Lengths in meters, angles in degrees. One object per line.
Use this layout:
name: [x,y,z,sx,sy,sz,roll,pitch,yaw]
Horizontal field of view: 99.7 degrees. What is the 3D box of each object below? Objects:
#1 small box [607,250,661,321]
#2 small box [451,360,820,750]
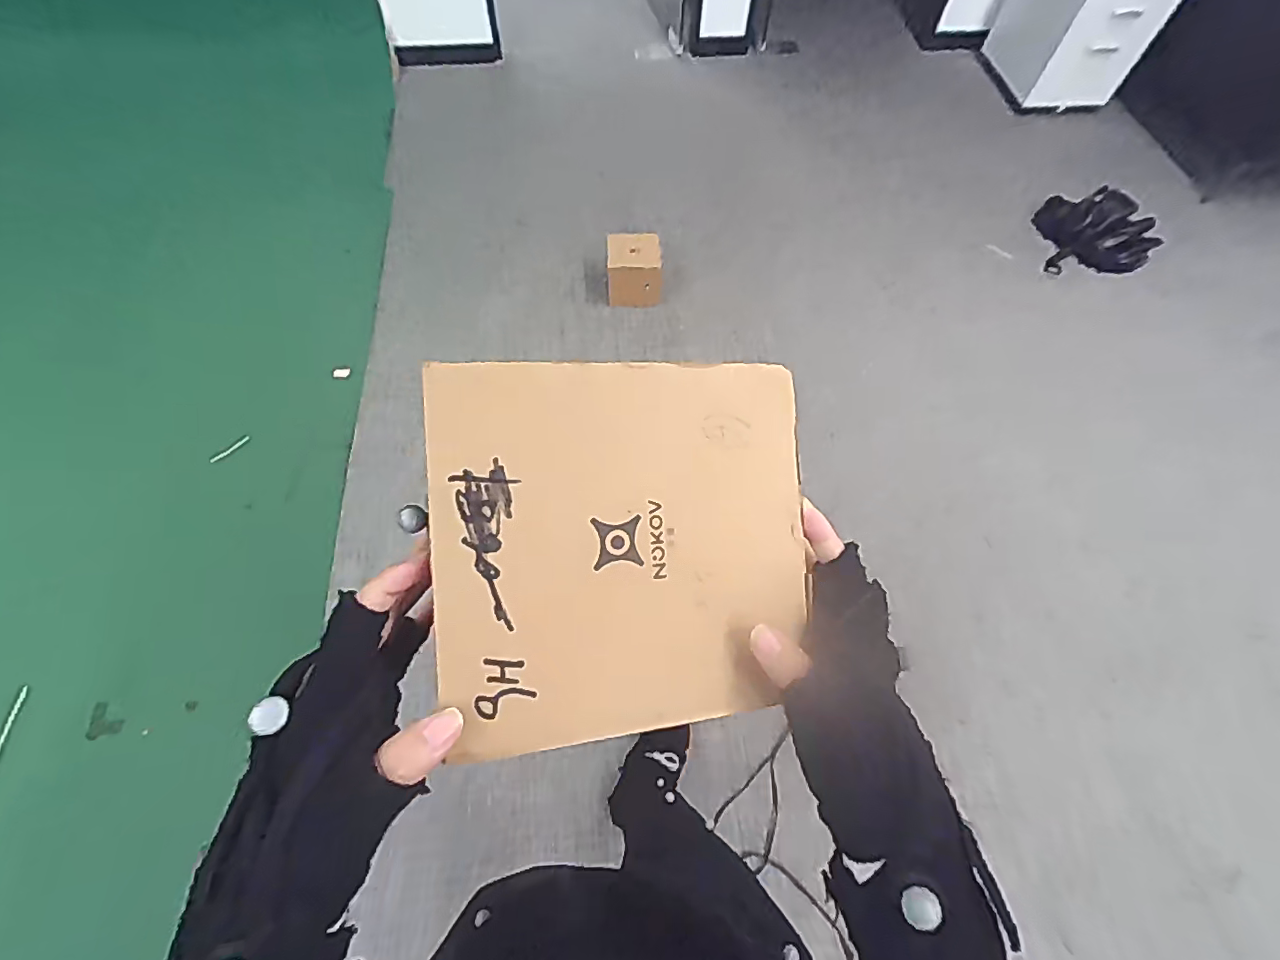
small box: [-0.022,-0.666,1.857,0.179,0.176,0.168,-2,60,-2]
small box: [-0.019,0.035,0.327,0.179,0.176,0.168,-2,84,-17]
